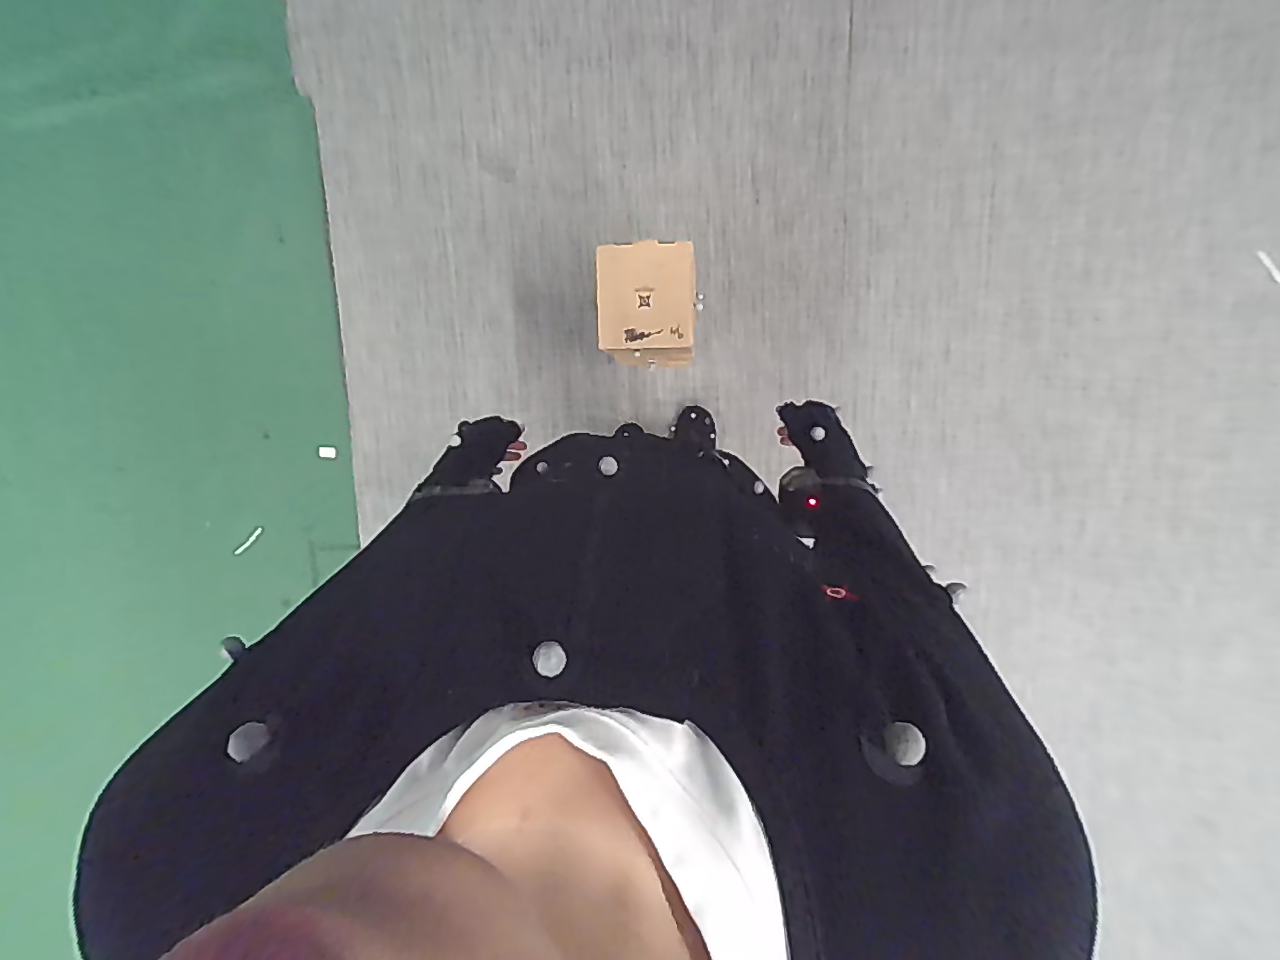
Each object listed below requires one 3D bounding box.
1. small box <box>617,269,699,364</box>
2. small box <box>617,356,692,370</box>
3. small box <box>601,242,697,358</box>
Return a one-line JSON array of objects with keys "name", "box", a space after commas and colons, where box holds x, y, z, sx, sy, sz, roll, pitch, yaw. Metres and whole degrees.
[{"name": "small box", "box": [0.042, -0.345, 1.166, 0.168, 0.176, 0.179, 0, 99, 6]}, {"name": "small box", "box": [0.041, -0.360, 1.327, 0.179, 0.176, 0.168, 1, 98, 6]}, {"name": "small box", "box": [0.020, -0.325, 1.004, 0.168, 0.176, 0.179, 0, 97, 6]}]
